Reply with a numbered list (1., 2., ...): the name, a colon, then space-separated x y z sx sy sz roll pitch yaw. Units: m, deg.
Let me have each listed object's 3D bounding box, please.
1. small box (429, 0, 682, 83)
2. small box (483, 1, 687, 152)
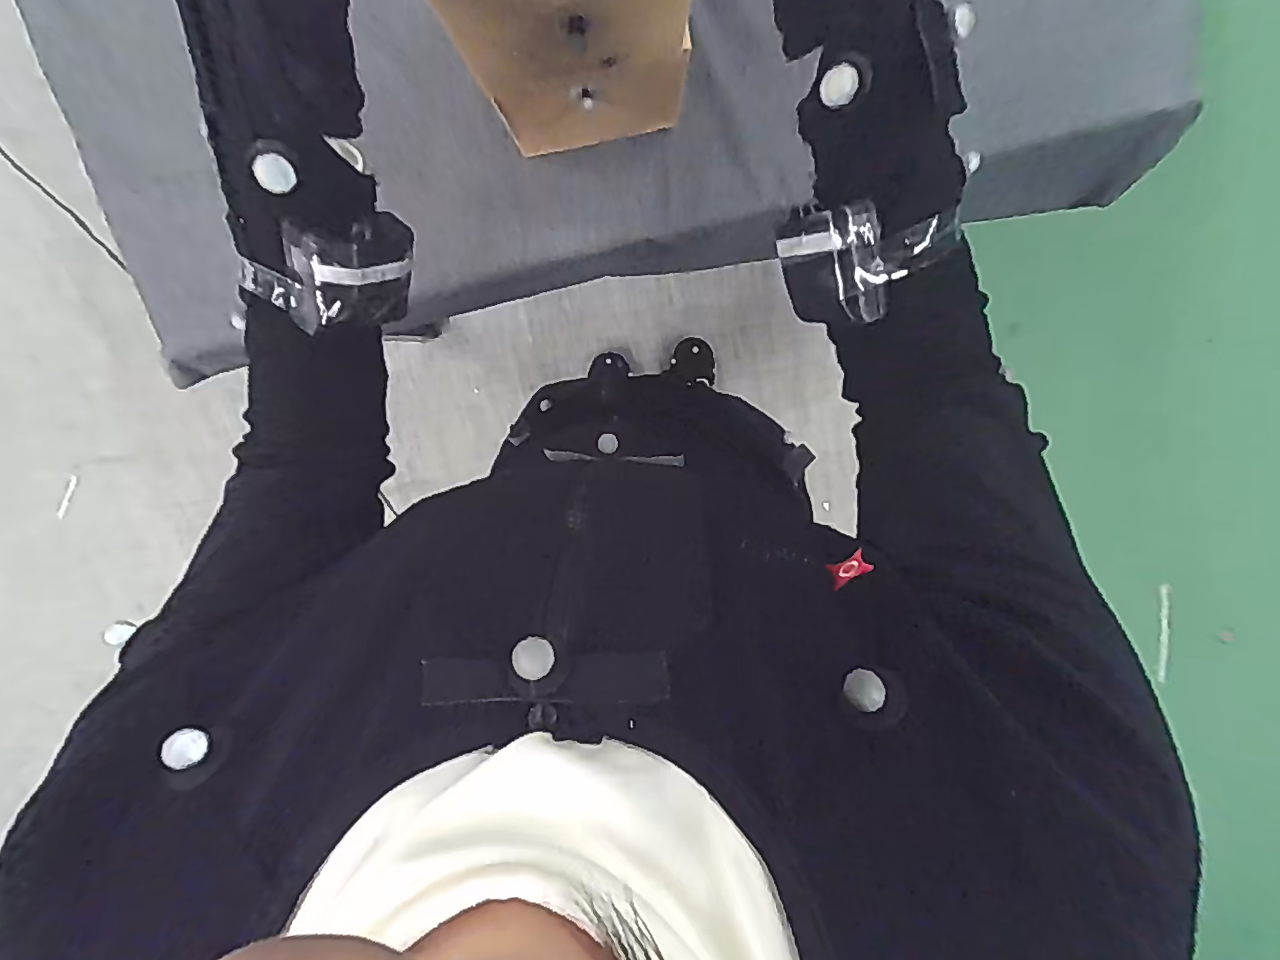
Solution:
1. small box: -0.061 -0.398 0.356 0.168 0.176 0.179 -10 104 2
2. small box: -0.058 -0.440 0.514 0.179 0.176 0.168 -11 104 2
